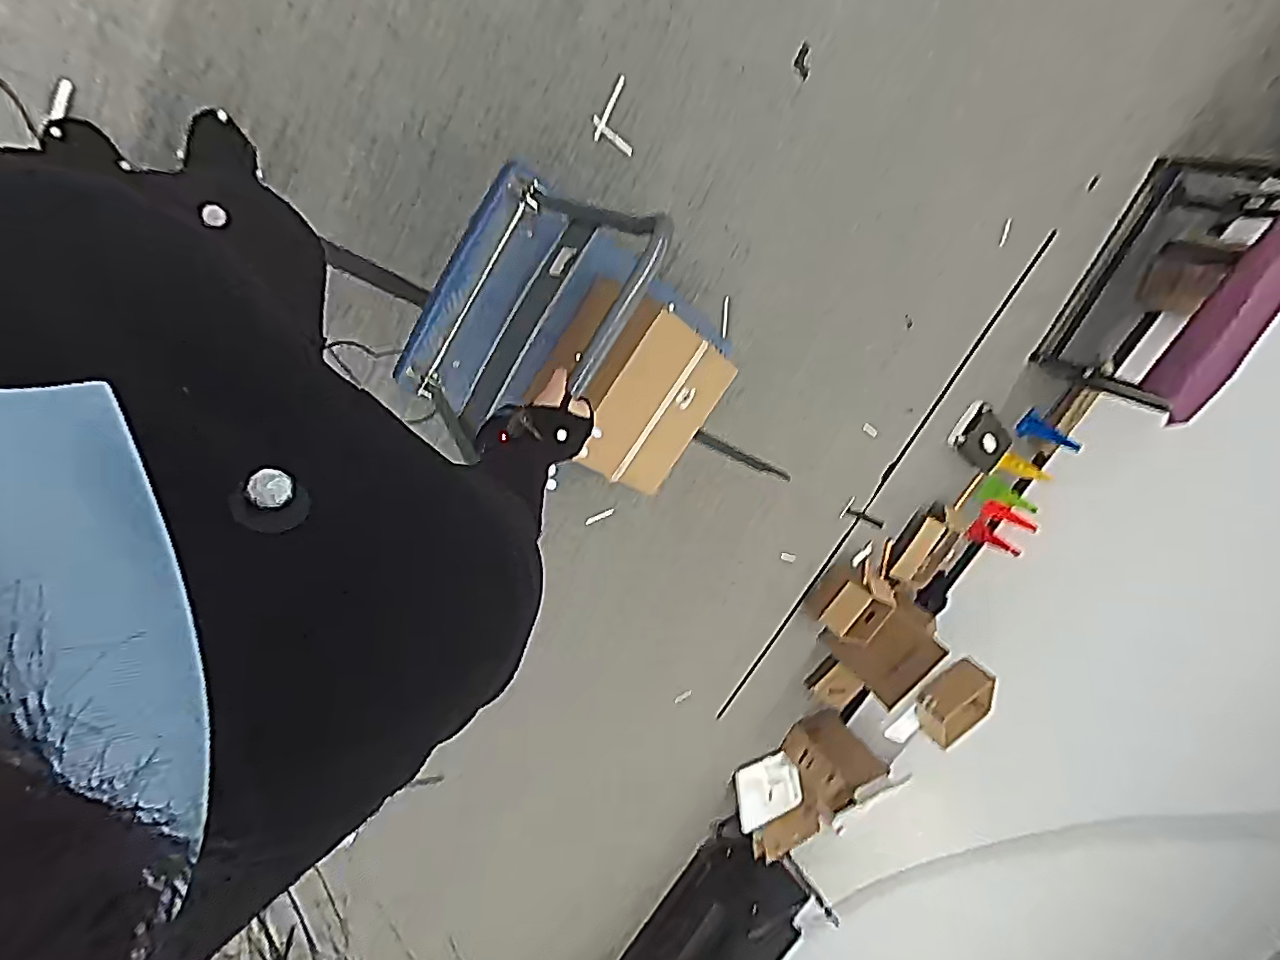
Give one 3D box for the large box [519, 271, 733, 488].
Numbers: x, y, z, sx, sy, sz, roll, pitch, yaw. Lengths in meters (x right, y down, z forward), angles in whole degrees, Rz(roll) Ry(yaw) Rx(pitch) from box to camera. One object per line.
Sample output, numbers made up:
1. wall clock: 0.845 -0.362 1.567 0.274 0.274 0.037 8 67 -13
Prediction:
1. large box: -0.045 -0.256 1.400 0.320 0.320 0.408 26 101 -45
